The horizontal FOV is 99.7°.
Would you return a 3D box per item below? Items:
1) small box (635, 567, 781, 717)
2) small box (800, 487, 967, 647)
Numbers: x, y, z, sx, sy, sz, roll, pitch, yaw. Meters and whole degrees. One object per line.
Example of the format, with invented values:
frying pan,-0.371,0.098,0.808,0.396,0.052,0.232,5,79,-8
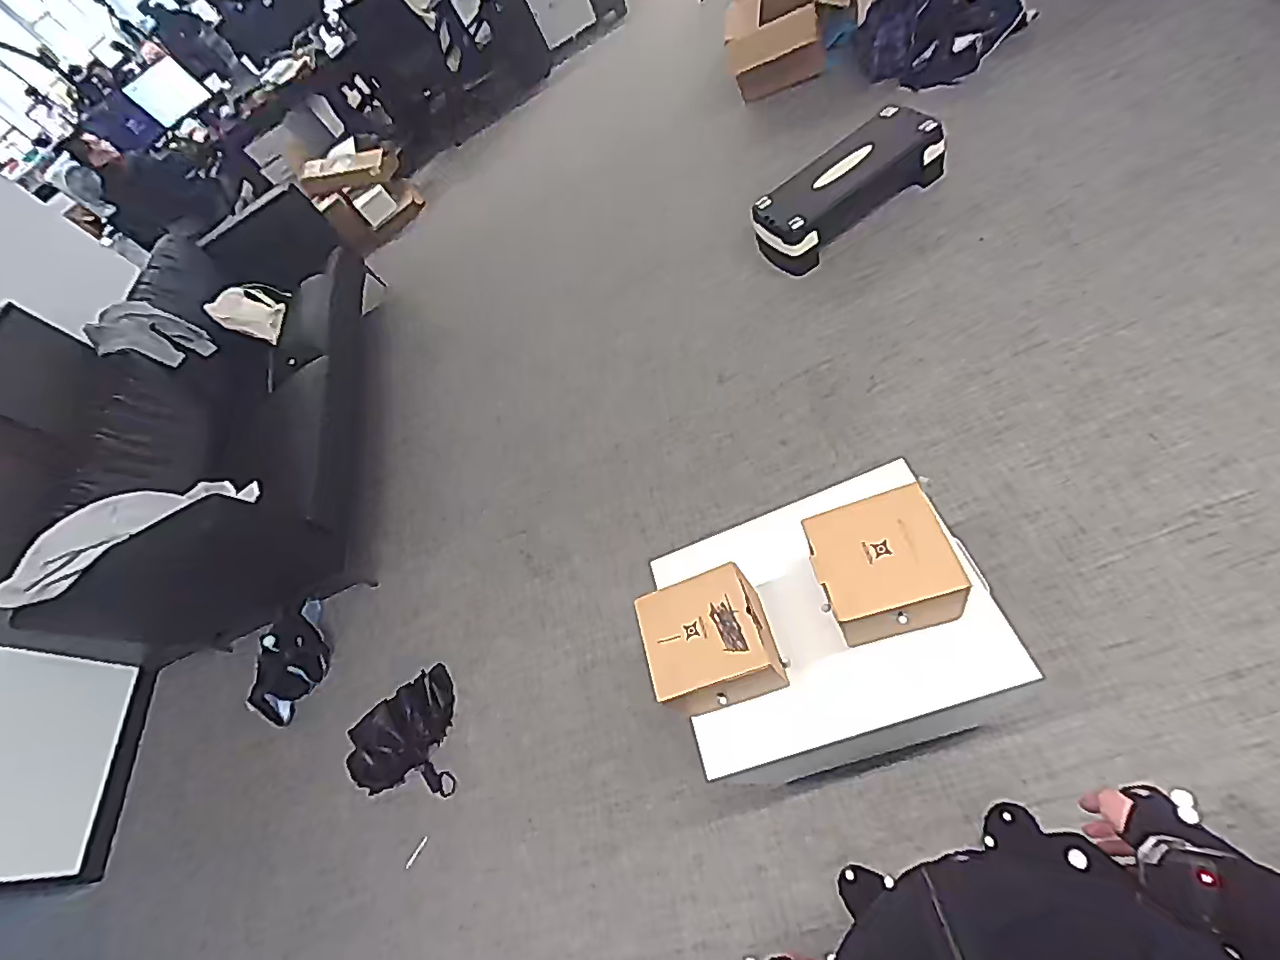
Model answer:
small box,0.115,0.266,0.869,0.179,0.176,0.168,-24,54,13
small box,0.364,0.141,0.822,0.179,0.176,0.168,-20,56,14
